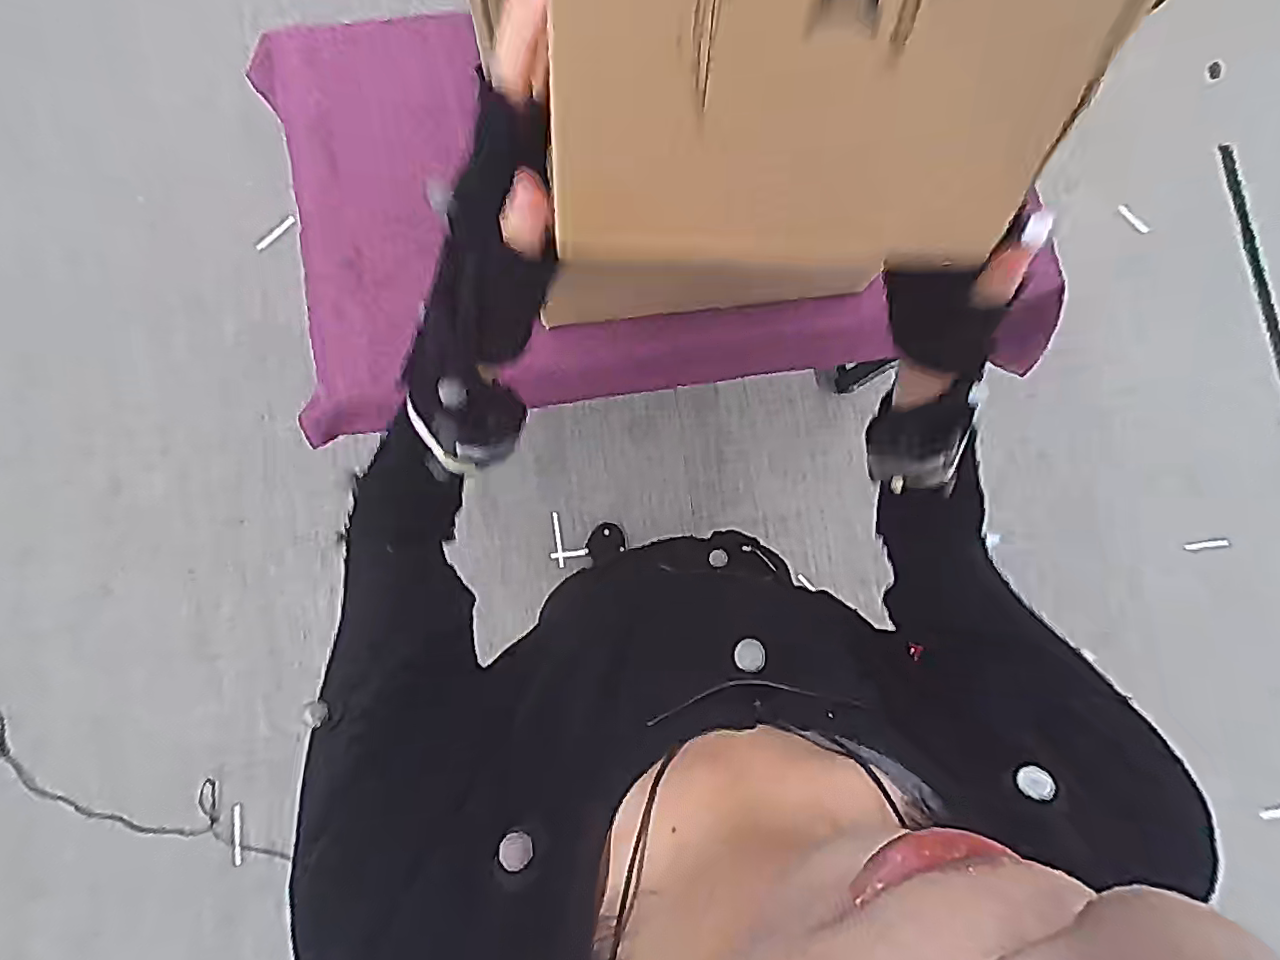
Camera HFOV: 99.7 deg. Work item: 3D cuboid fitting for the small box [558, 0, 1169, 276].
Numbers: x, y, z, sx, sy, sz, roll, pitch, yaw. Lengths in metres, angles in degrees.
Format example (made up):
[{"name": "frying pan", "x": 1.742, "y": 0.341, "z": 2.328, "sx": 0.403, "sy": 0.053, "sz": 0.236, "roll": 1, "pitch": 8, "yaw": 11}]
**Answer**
[{"name": "small box", "x": 0.058, "y": -0.195, "z": 0.196, "sx": 0.179, "sy": 0.168, "sz": 0.176, "roll": -1, "pitch": 51, "yaw": -6}]
